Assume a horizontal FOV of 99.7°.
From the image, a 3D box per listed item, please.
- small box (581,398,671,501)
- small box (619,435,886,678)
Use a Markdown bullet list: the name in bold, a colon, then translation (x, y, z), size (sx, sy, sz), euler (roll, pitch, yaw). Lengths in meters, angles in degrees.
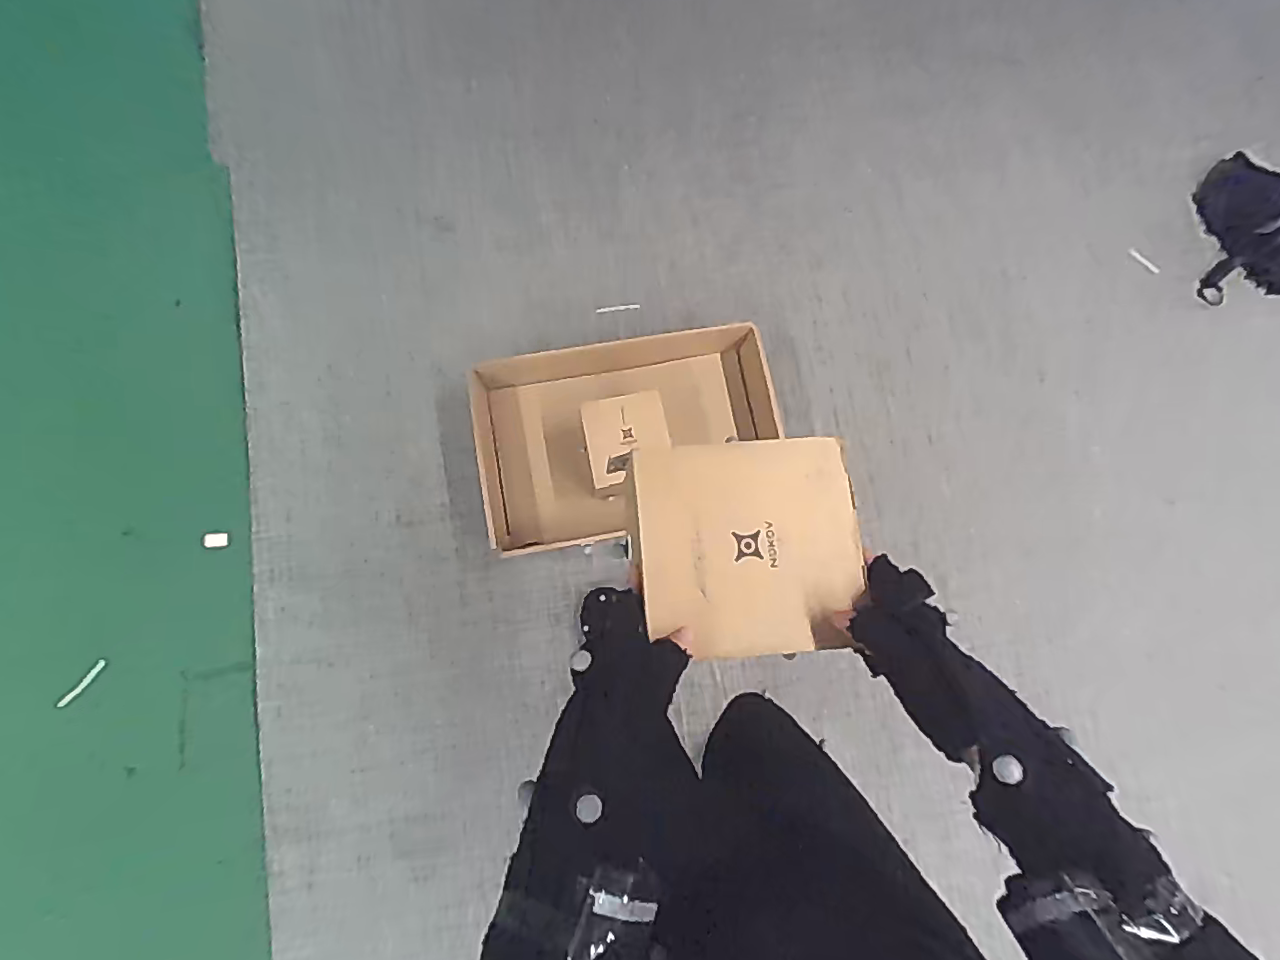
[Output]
- **small box**: translation (-0.028, -0.056, 1.149), size (0.168, 0.176, 0.179), euler (-10, 81, -6)
- **small box**: translation (0.082, 0.067, 0.488), size (0.179, 0.176, 0.168), euler (-8, 79, -7)
